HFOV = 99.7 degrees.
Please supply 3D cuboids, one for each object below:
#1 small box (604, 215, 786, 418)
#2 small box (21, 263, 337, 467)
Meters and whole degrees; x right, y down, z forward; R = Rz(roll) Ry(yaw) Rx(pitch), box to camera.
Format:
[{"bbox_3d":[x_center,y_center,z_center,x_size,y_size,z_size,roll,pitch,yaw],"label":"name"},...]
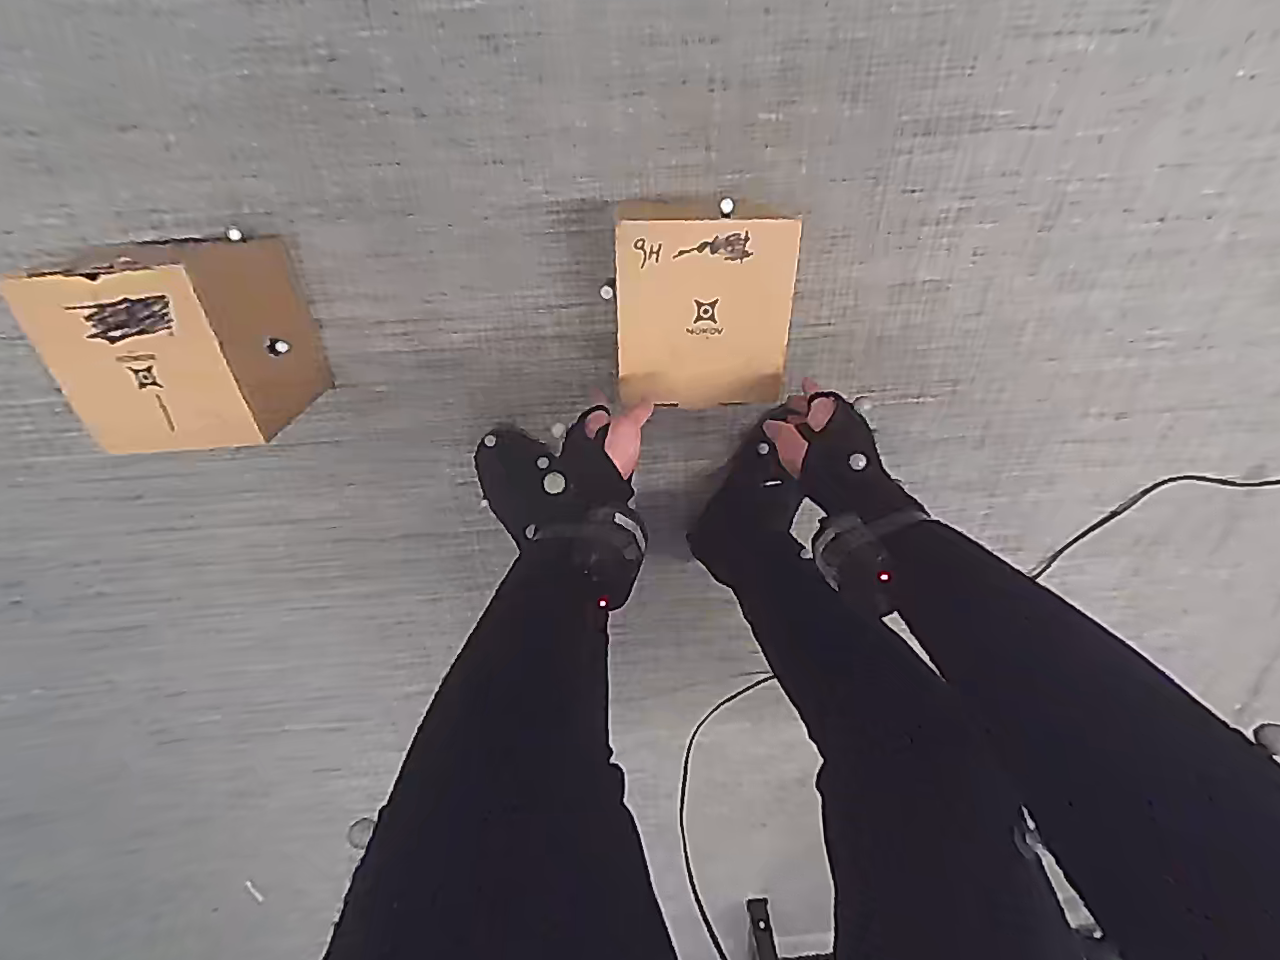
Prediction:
[{"bbox_3d":[0.048,-0.183,0.593,0.168,0.176,0.179,-2,122,-2],"label":"small box"},{"bbox_3d":[-0.473,-0.135,0.595,0.168,0.176,0.179,-4,123,0],"label":"small box"}]
